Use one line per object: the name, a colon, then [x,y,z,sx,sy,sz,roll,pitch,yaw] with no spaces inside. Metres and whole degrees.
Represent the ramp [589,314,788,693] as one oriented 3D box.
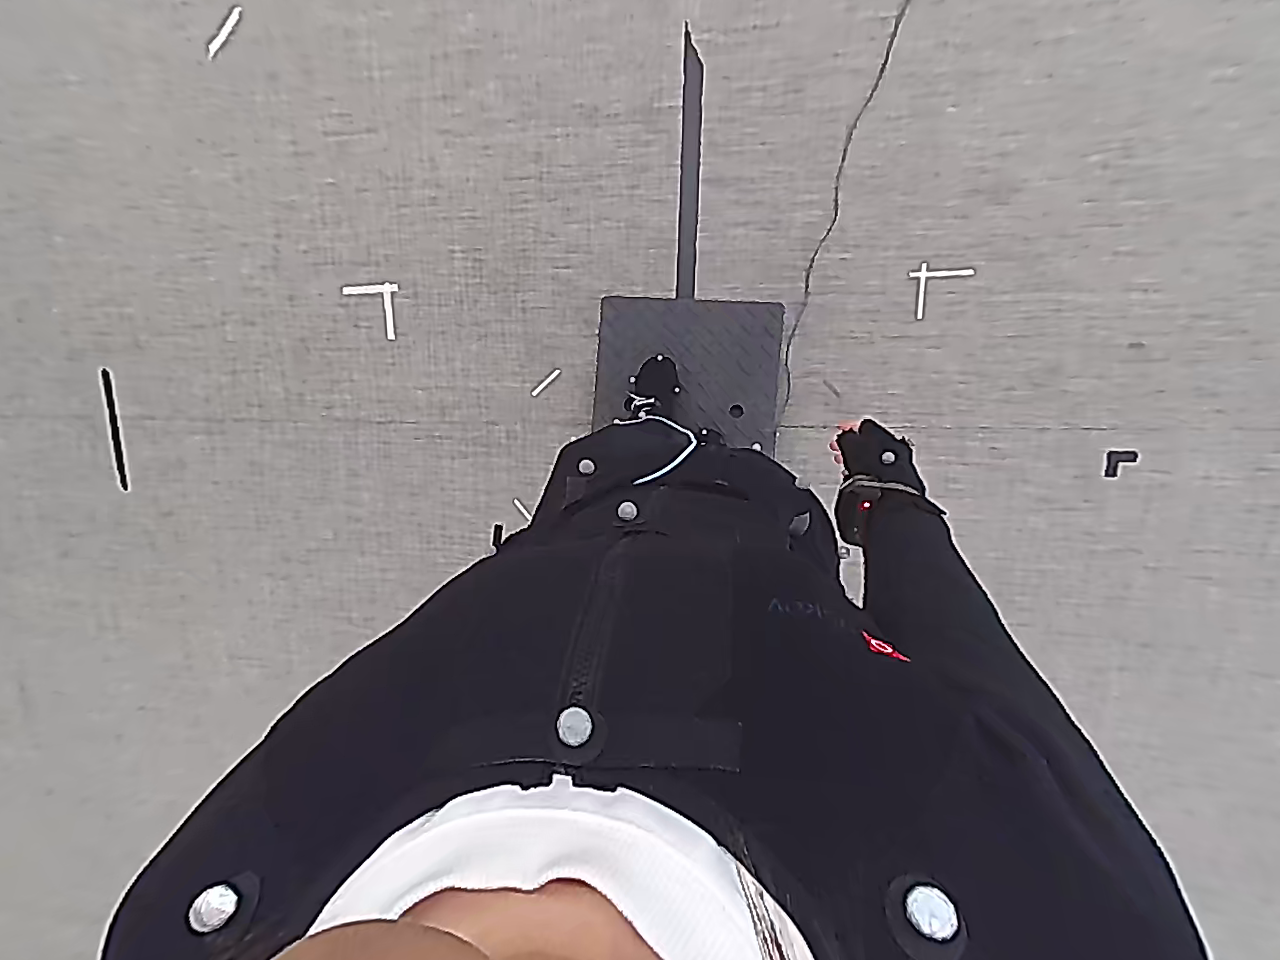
ramp: [0.128,0.045,1.458,0.509,0.206,0.991,2,98,9]
